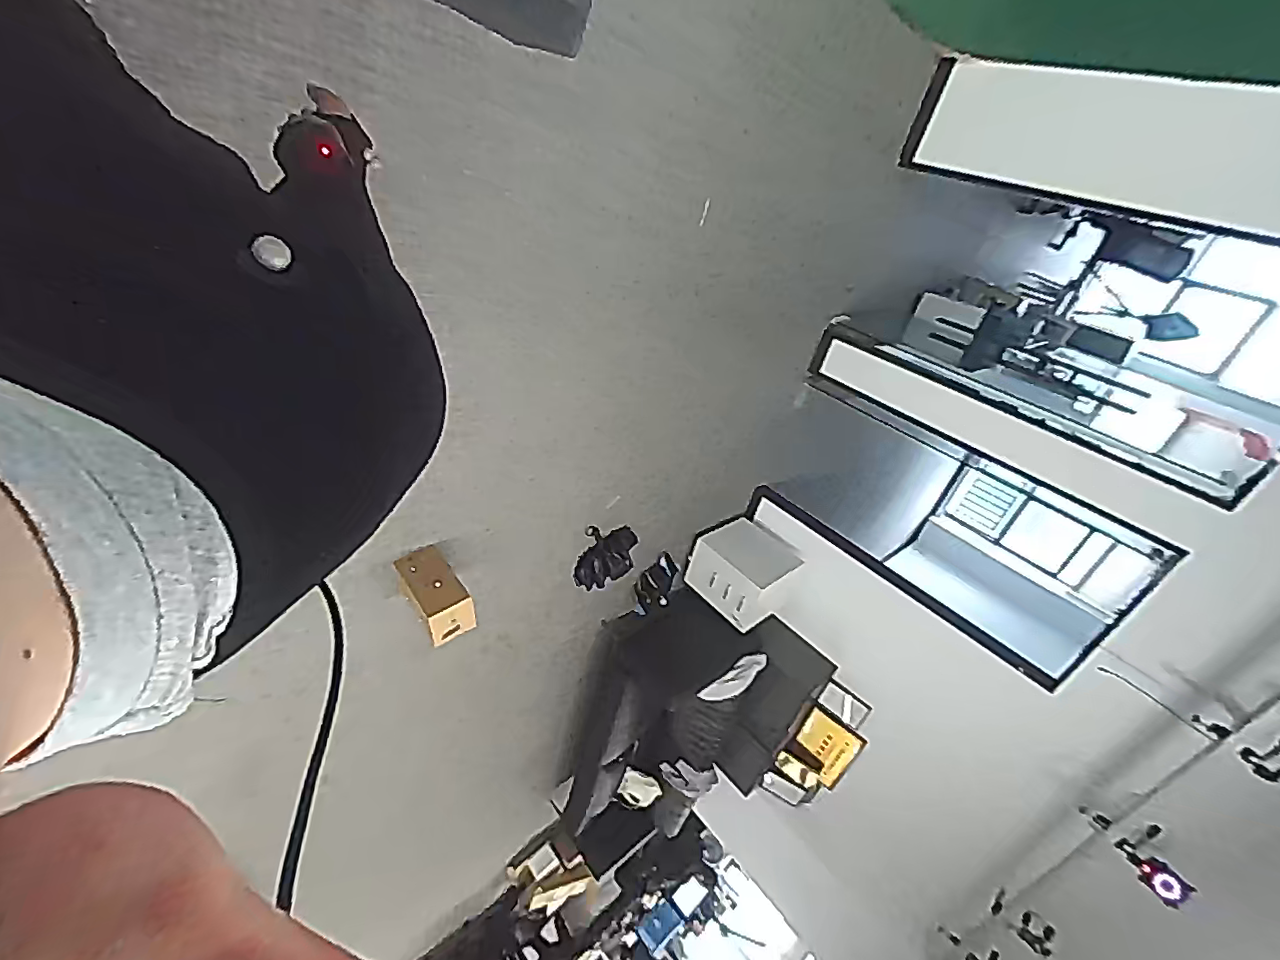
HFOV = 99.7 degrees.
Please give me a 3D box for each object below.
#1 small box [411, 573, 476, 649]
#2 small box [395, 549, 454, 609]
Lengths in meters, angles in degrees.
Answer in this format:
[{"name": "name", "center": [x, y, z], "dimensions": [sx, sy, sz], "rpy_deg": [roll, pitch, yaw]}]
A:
[{"name": "small box", "center": [-0.725, 0.479, 2.000], "dimensions": [0.168, 0.176, 0.179], "rpy_deg": [-25, 137, -33]}, {"name": "small box", "center": [-0.827, 0.392, 2.096], "dimensions": [0.168, 0.176, 0.179], "rpy_deg": [-24, 140, -32]}]
